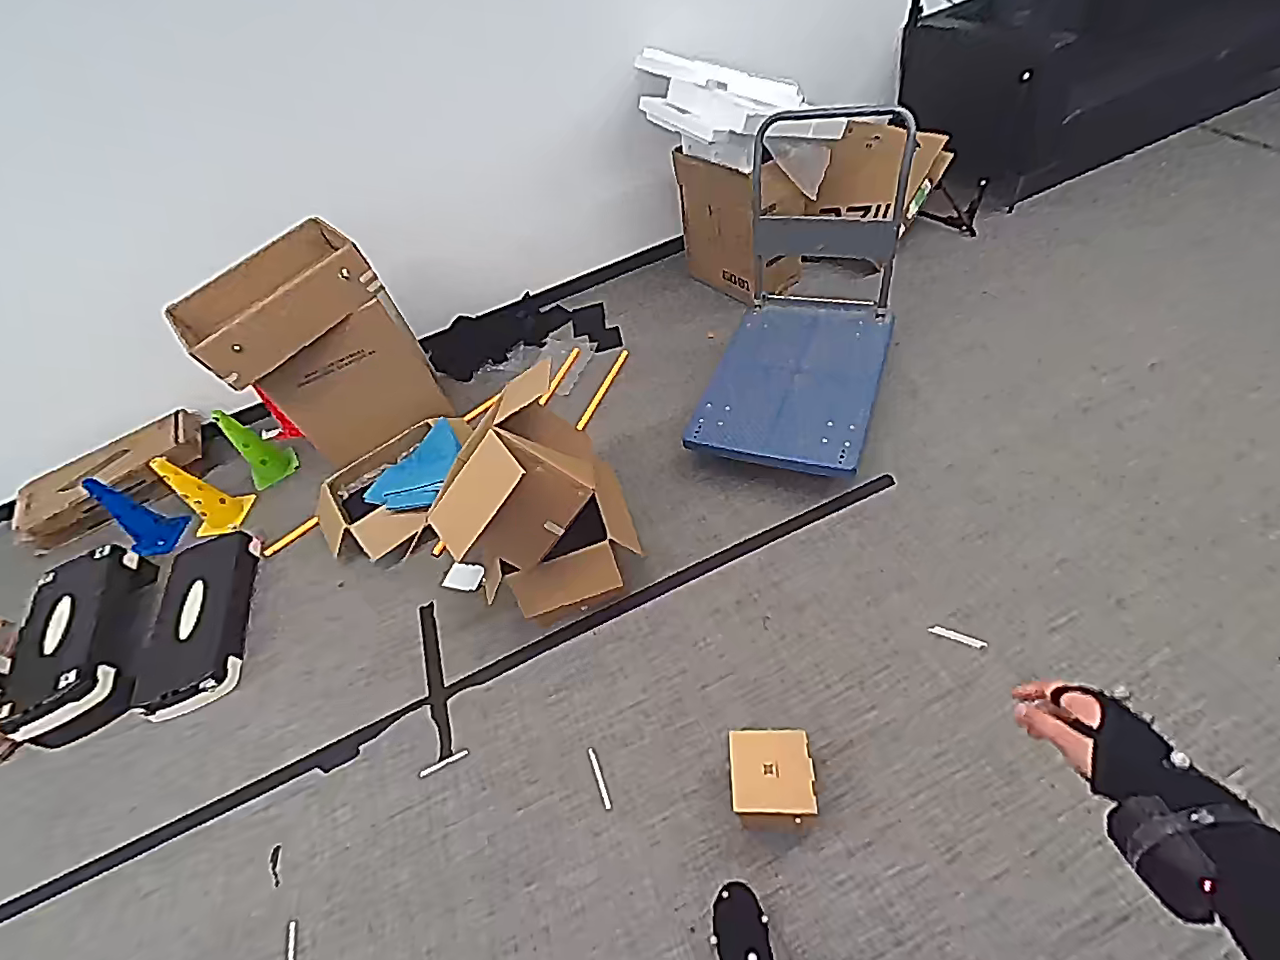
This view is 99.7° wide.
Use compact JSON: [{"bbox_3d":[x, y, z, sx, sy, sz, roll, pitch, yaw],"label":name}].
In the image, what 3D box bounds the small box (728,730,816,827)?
[{"bbox_3d":[0.300,0.688,1.242,0.179,0.176,0.168,-5,48,10],"label":"small box"}]
